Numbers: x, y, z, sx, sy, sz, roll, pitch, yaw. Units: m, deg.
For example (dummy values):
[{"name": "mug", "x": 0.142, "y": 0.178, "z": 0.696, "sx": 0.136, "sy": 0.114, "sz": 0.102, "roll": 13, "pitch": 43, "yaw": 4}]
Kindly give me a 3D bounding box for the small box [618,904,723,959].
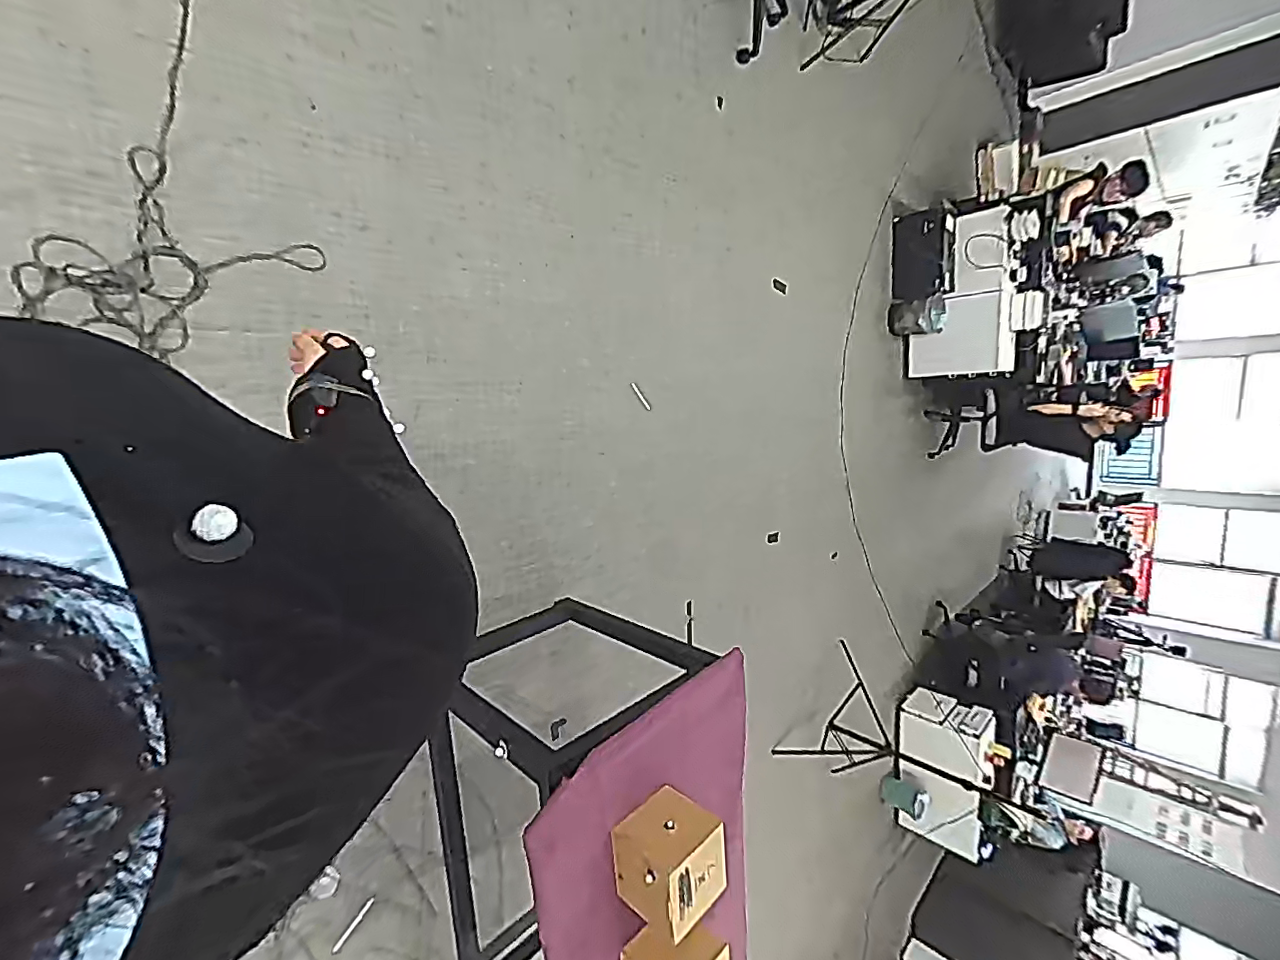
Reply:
[{"name": "small box", "x": 0.069, "y": 1.111, "z": 1.202, "sx": 0.179, "sy": 0.176, "sz": 0.168, "roll": -12, "pitch": 103, "yaw": -43}]
